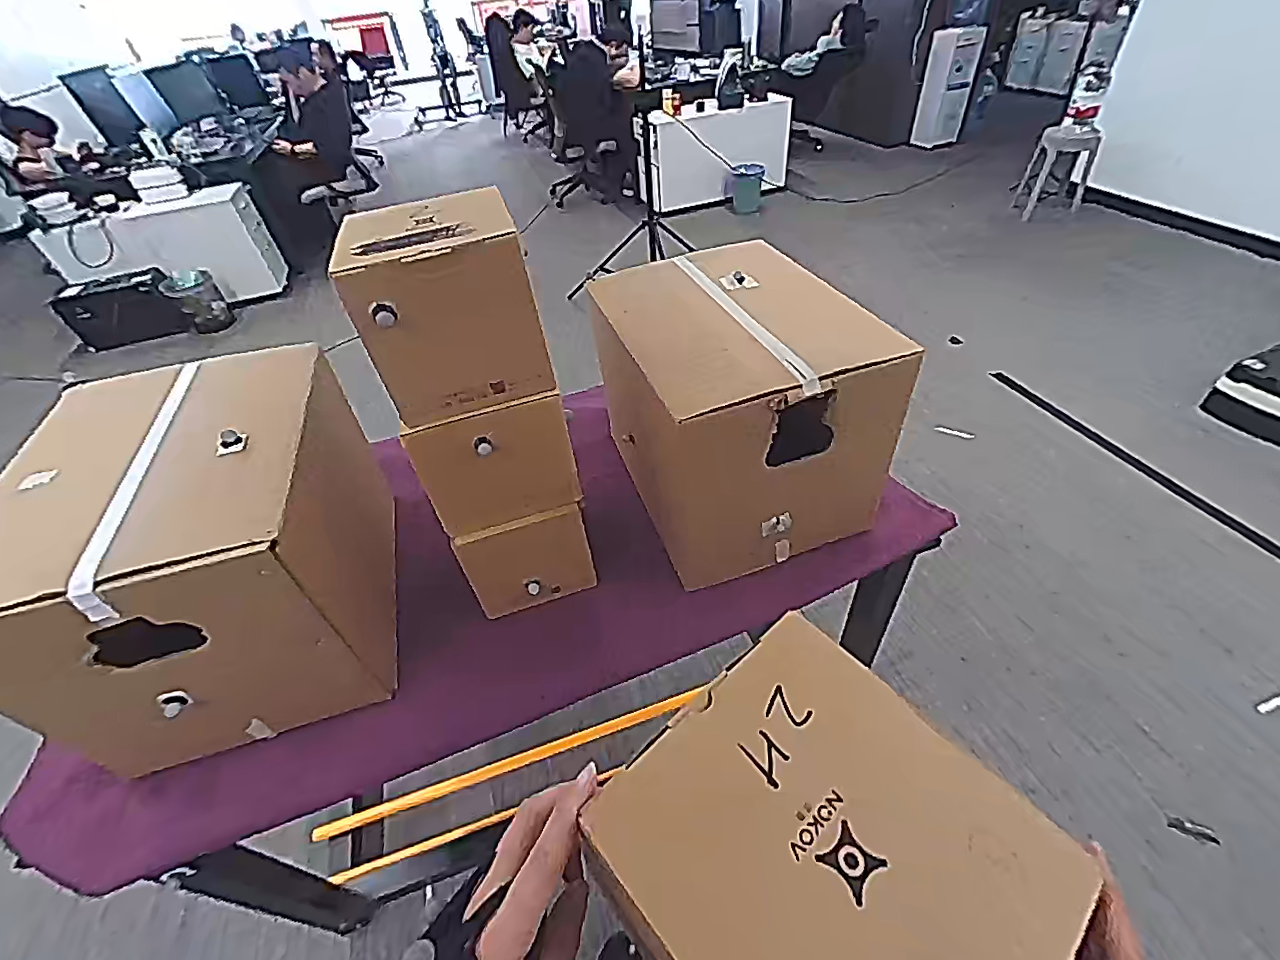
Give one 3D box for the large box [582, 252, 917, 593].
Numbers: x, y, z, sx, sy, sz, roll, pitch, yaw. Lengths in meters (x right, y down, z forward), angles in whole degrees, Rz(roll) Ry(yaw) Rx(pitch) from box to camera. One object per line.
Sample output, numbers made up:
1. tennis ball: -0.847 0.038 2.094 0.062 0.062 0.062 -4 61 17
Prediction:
1. large box: 0.133 -0.107 0.837 0.320 0.320 0.408 -17 43 -11
